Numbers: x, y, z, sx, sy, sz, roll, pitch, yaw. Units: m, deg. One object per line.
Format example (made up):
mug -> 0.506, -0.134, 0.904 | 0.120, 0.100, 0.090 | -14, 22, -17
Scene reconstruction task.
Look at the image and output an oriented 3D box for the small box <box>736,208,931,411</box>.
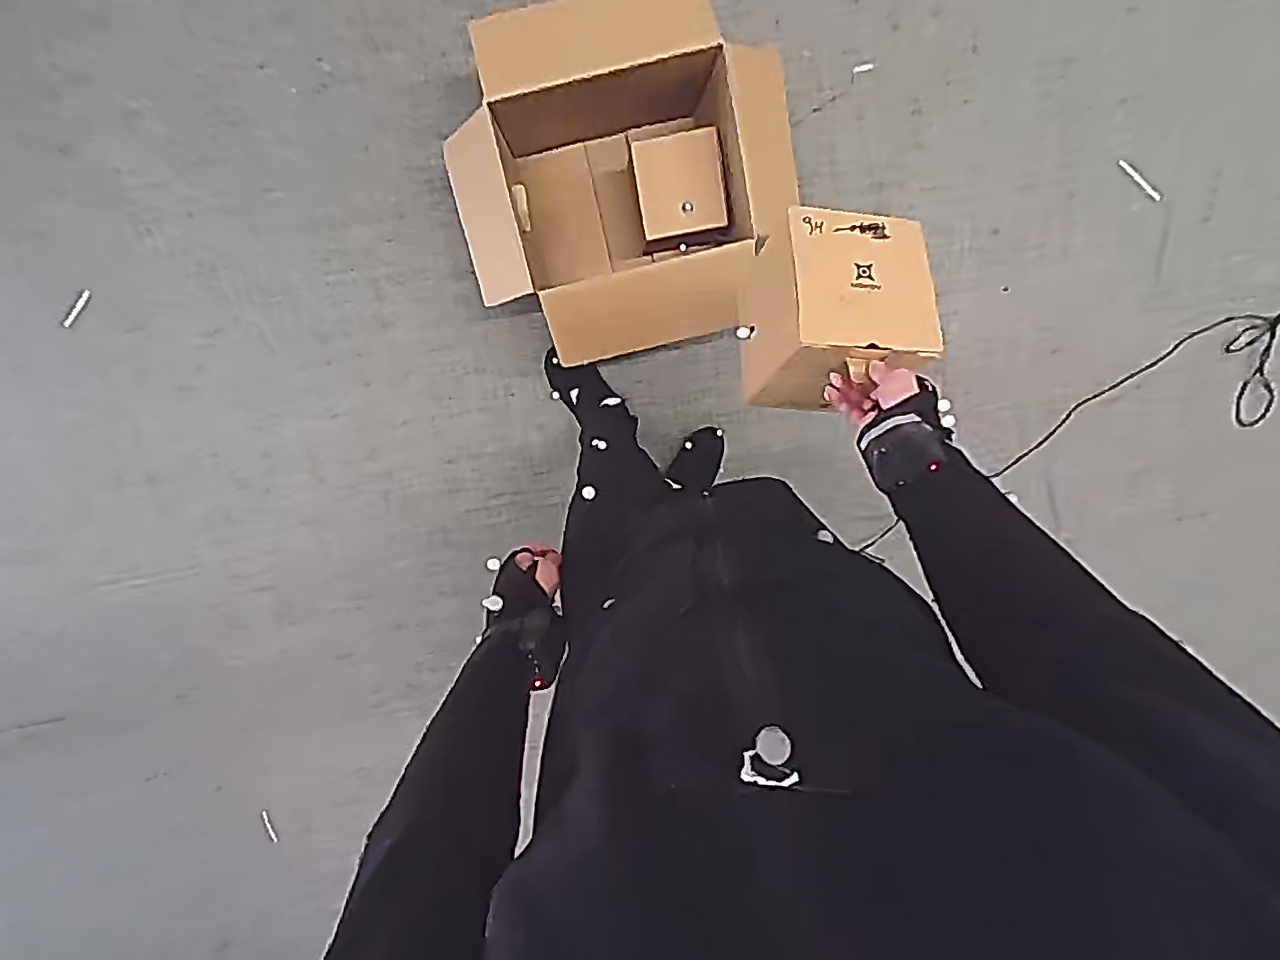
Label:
small box -> 0.225, -0.197, 0.673 | 0.168, 0.176, 0.179 | 3, 74, -9
